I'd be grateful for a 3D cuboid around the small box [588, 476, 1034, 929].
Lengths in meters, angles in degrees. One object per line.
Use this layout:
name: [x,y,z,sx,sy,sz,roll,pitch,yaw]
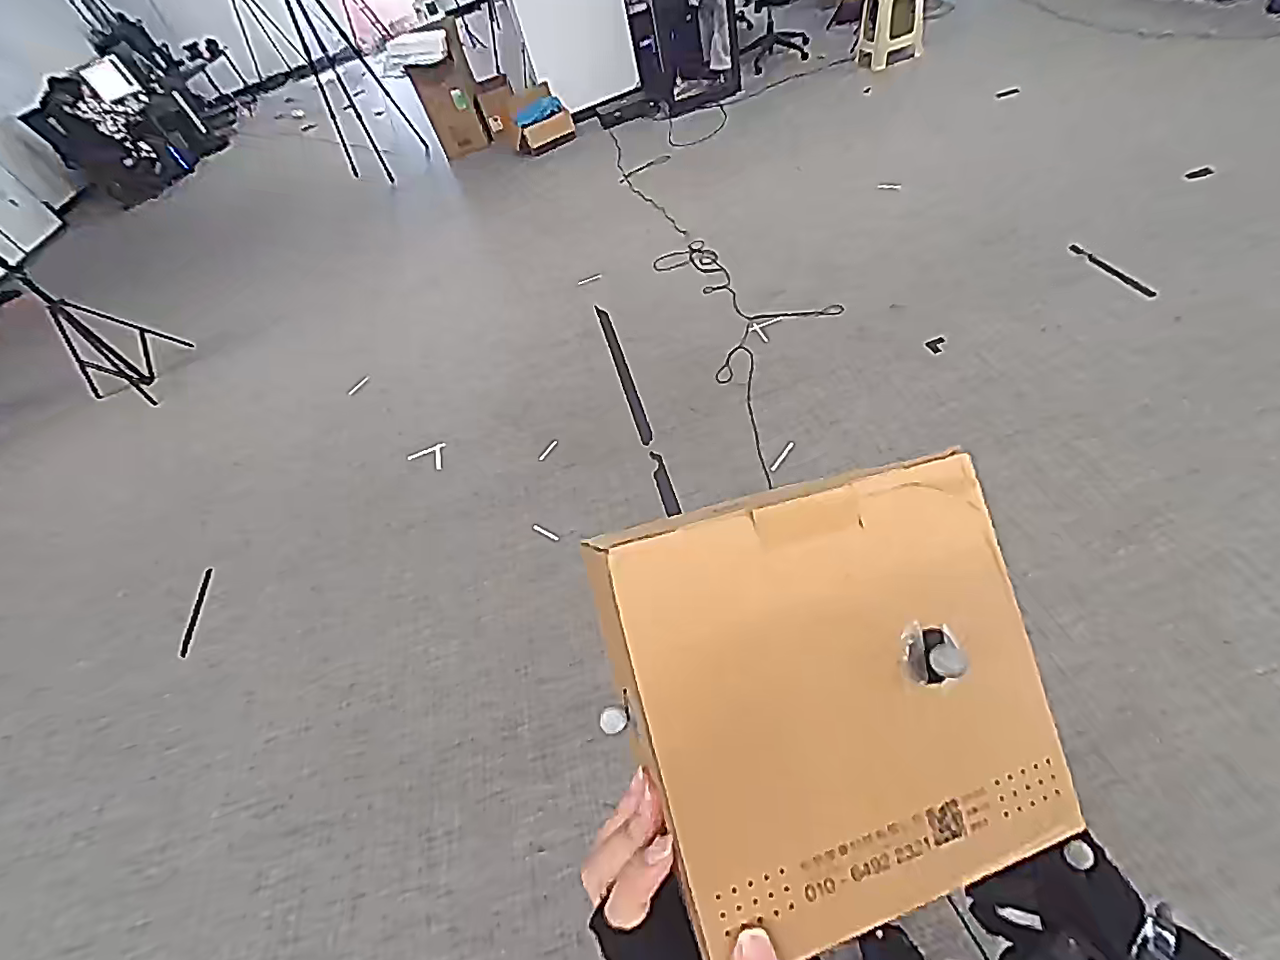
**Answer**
small box: [0.074,0.107,0.312,0.168,0.179,0.176,-14,86,-10]
